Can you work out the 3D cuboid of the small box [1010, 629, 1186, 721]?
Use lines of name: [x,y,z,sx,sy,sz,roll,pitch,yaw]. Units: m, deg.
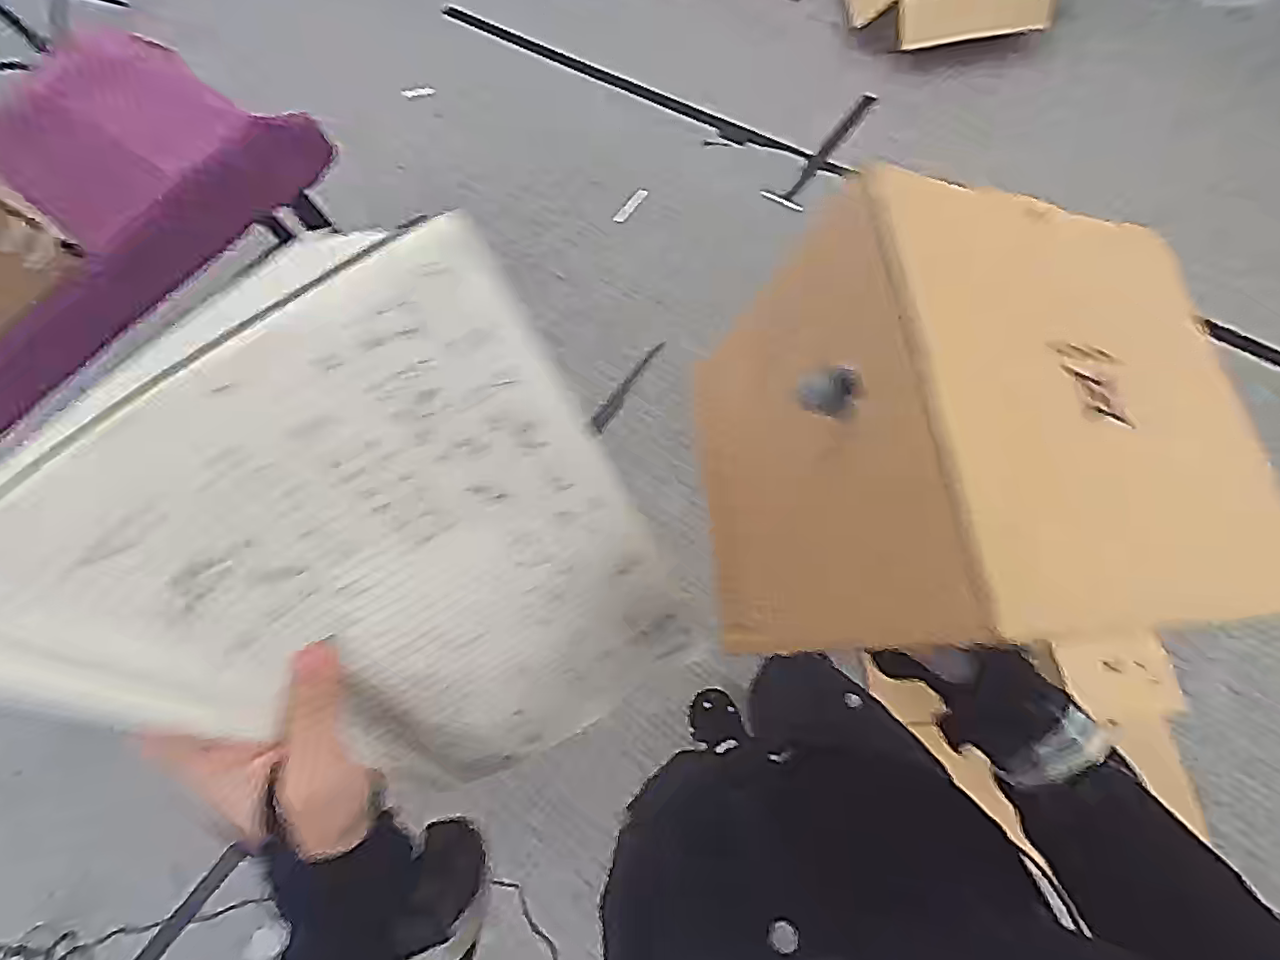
small box: [0.826,0.345,1.007,0.179,0.176,0.168,-9,72,4]
